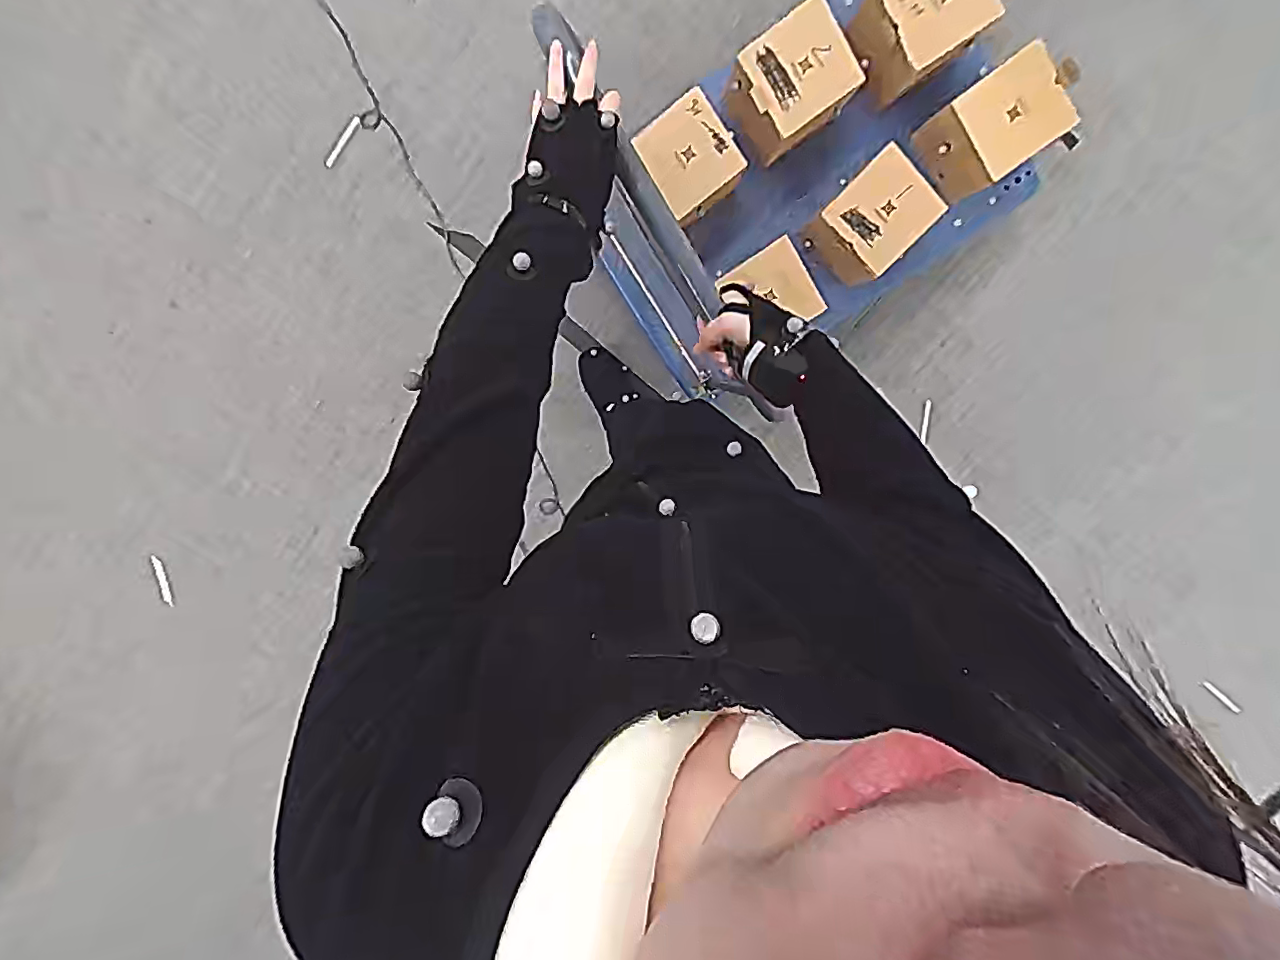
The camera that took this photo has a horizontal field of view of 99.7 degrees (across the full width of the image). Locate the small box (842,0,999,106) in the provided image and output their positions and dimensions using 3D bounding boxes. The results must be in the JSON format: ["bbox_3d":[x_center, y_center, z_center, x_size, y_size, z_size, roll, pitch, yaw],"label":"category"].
[{"bbox_3d":[0.513,-0.858,1.014,0.179,0.176,0.168,-30,101,8],"label":"small box"}]

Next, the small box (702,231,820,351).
[{"bbox_3d":[0.242,-0.384,1.133,0.179,0.176,0.168,-32,102,7],"label":"small box"}]

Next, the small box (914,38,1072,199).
[{"bbox_3d":[0.671,-0.688,1.057,0.179,0.176,0.168,-35,101,8],"label":"small box"}]

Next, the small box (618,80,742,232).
[{"bbox_3d":[0.076,-0.625,1.072,0.179,0.176,0.168,-35,102,8],"label":"small box"}]

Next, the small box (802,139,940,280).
[{"bbox_3d":[0.451,-0.531,1.095,0.179,0.176,0.168,-44,100,9],"label":"small box"}]
